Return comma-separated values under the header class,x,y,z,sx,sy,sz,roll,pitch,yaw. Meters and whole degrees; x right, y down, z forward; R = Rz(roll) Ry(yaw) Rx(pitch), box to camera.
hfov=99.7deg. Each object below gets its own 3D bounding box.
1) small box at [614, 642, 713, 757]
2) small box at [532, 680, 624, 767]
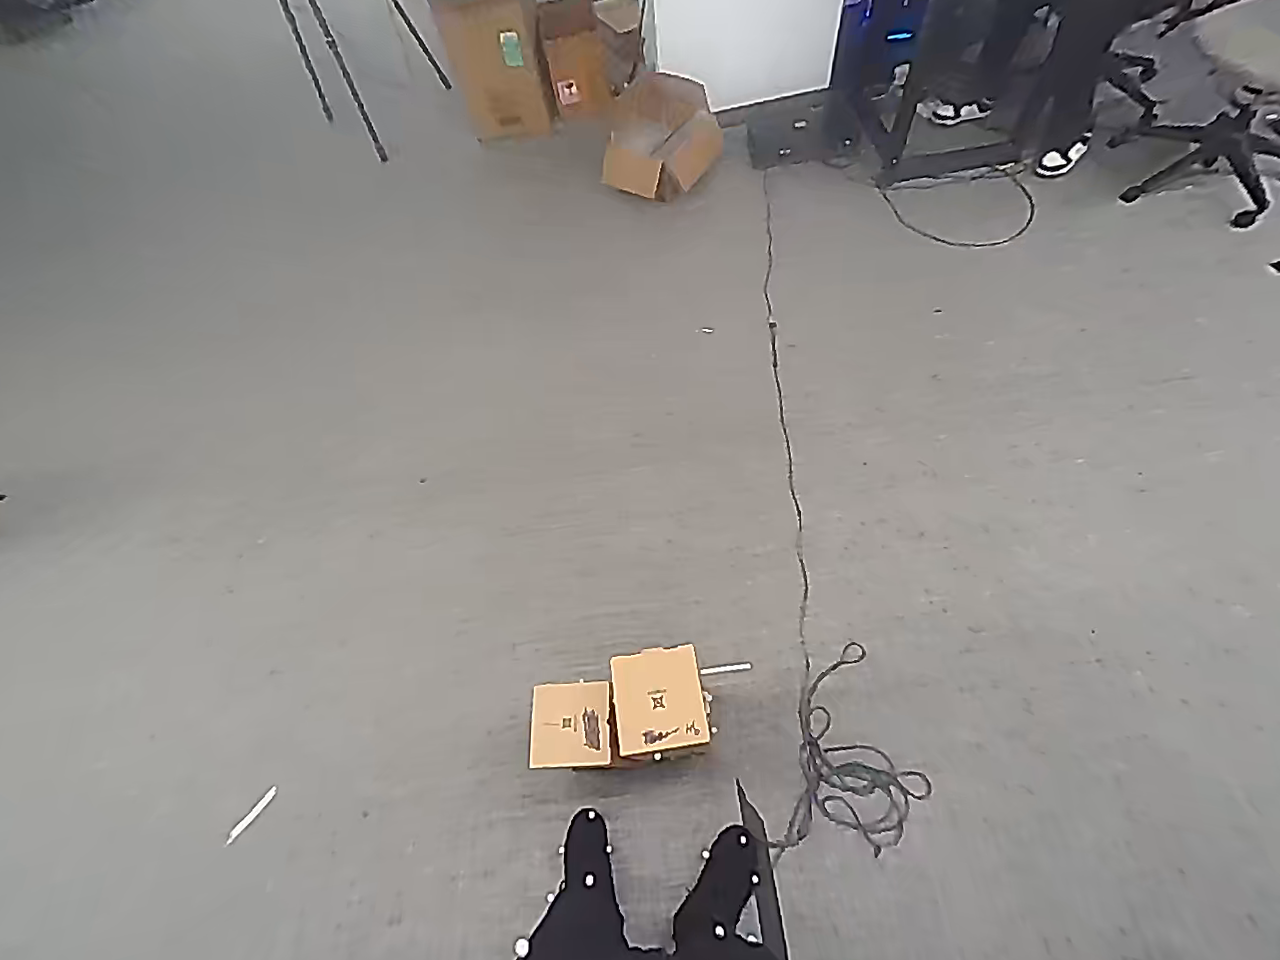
class,x,y,z,sx,sy,sz,roll,pitch,yaw
small box,0.048,0.435,1.063,0.168,0.176,0.179,-10,60,4
small box,-0.130,0.550,1.218,0.179,0.176,0.168,-6,61,7
